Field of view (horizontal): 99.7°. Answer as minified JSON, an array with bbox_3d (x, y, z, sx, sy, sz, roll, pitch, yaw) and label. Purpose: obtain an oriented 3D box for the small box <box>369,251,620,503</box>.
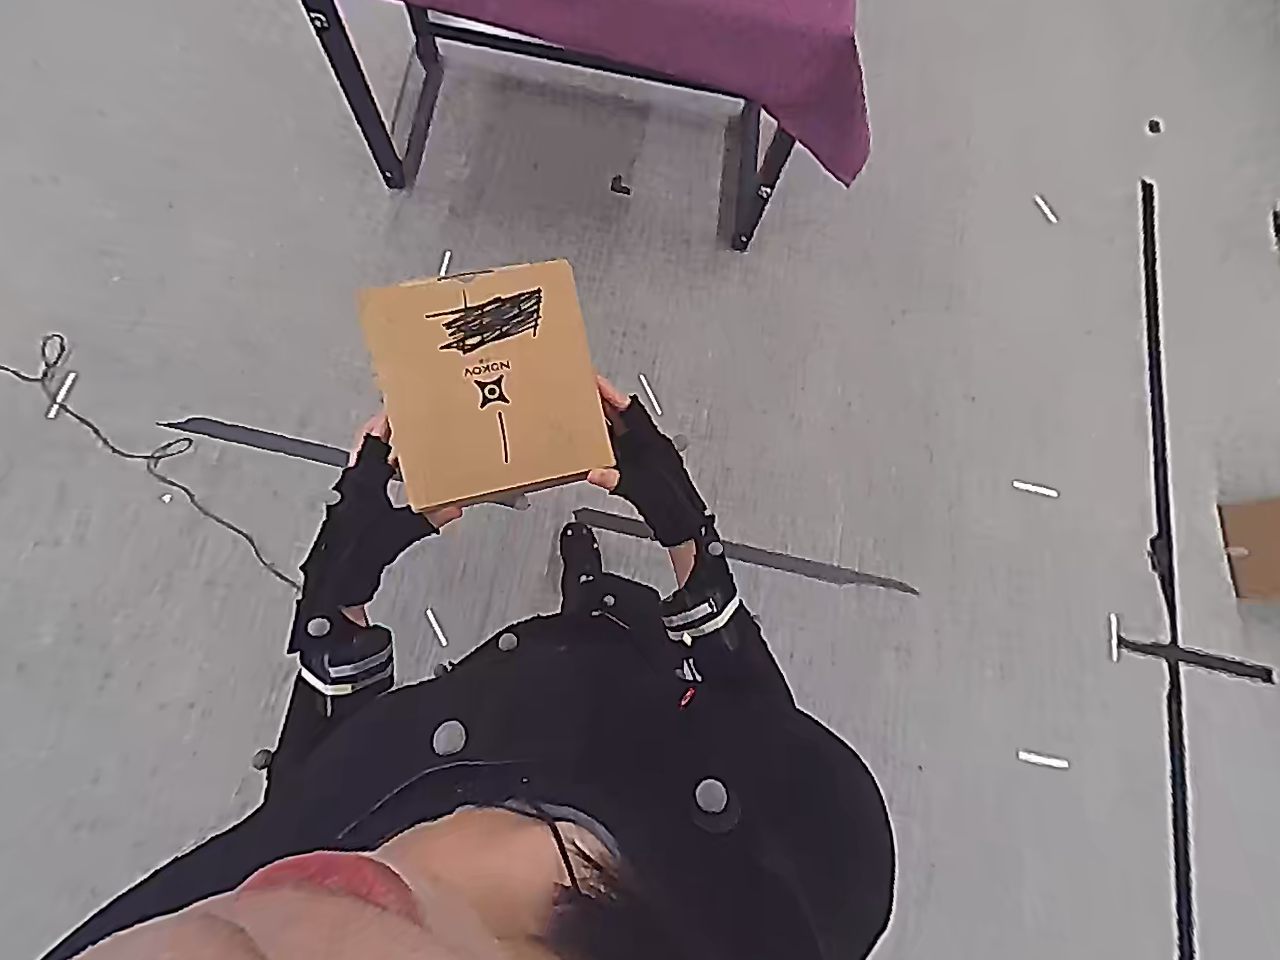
[{"bbox_3d":[-0.124,-0.081,0.502,0.168,0.176,0.179,-13,89,-9],"label":"small box"}]
